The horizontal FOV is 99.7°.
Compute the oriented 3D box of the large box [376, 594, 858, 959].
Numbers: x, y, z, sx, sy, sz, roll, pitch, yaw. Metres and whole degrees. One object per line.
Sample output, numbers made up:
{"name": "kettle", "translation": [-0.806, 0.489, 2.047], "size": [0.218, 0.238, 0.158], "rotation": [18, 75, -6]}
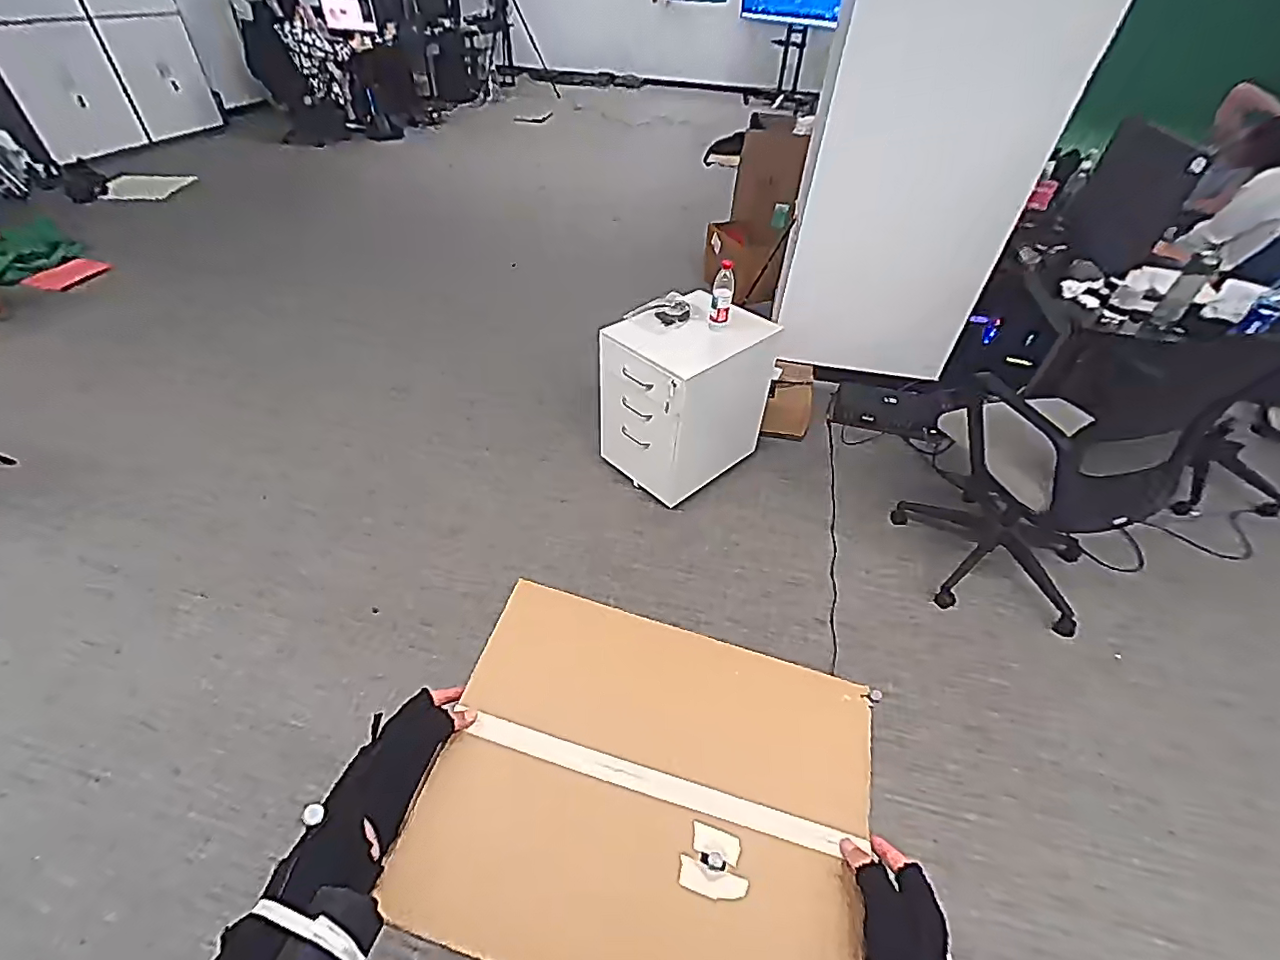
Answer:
{"name": "large box", "translation": [-0.008, 0.387, 0.632], "size": [0.408, 0.320, 0.320], "rotation": [16, 52, 5]}
